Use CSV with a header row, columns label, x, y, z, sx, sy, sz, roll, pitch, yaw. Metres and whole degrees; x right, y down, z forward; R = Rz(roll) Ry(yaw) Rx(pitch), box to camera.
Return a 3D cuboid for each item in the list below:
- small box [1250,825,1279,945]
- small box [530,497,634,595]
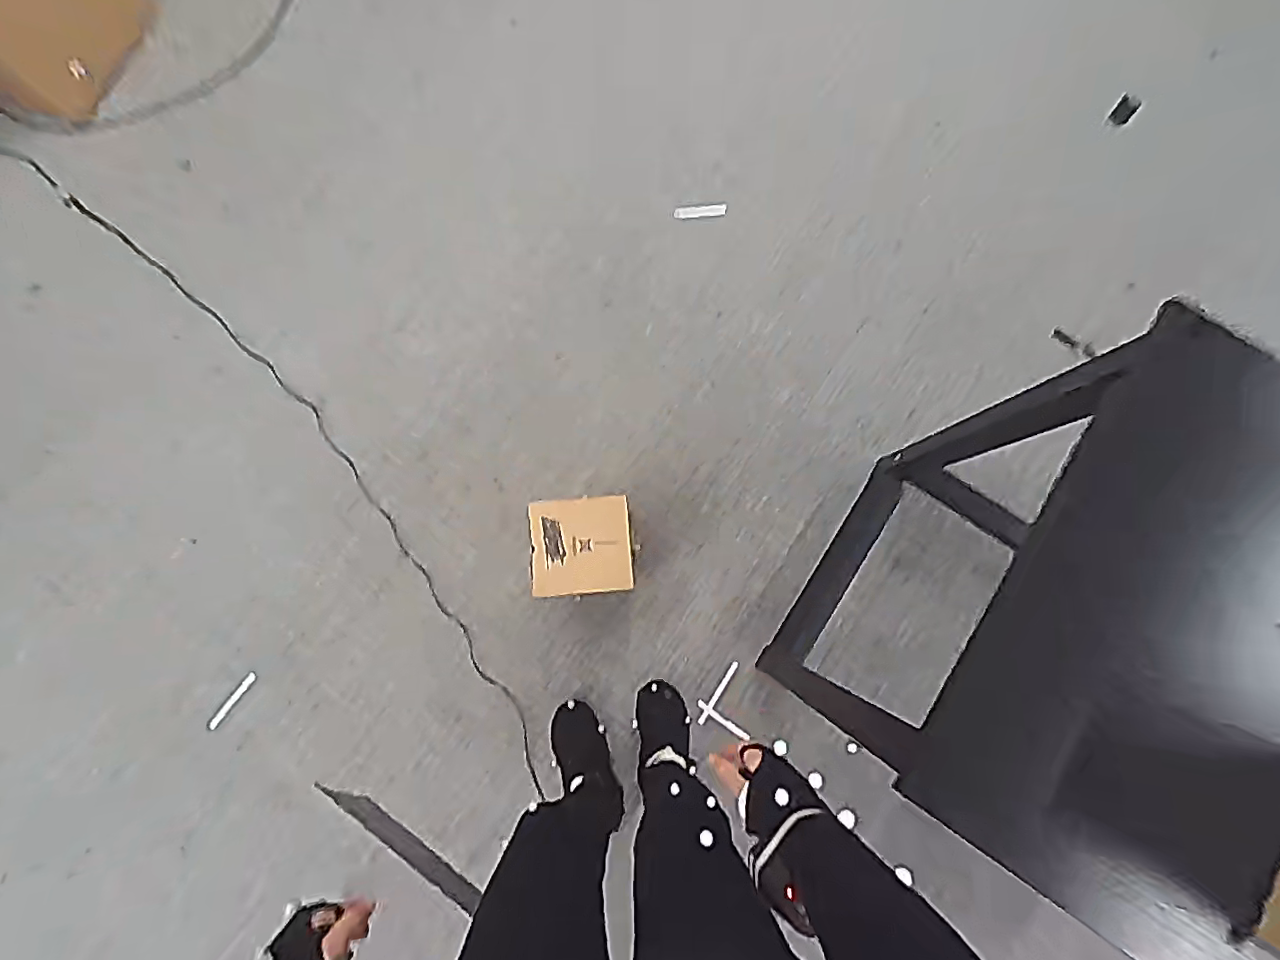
label,x,y,z,sx,sy,sz,roll,pitch,yaw
small box,0.657,0.361,0.418,0.168,0.176,0.179,34,80,5
small box,-0.103,0.131,1.028,0.179,0.176,0.168,-5,80,-2
